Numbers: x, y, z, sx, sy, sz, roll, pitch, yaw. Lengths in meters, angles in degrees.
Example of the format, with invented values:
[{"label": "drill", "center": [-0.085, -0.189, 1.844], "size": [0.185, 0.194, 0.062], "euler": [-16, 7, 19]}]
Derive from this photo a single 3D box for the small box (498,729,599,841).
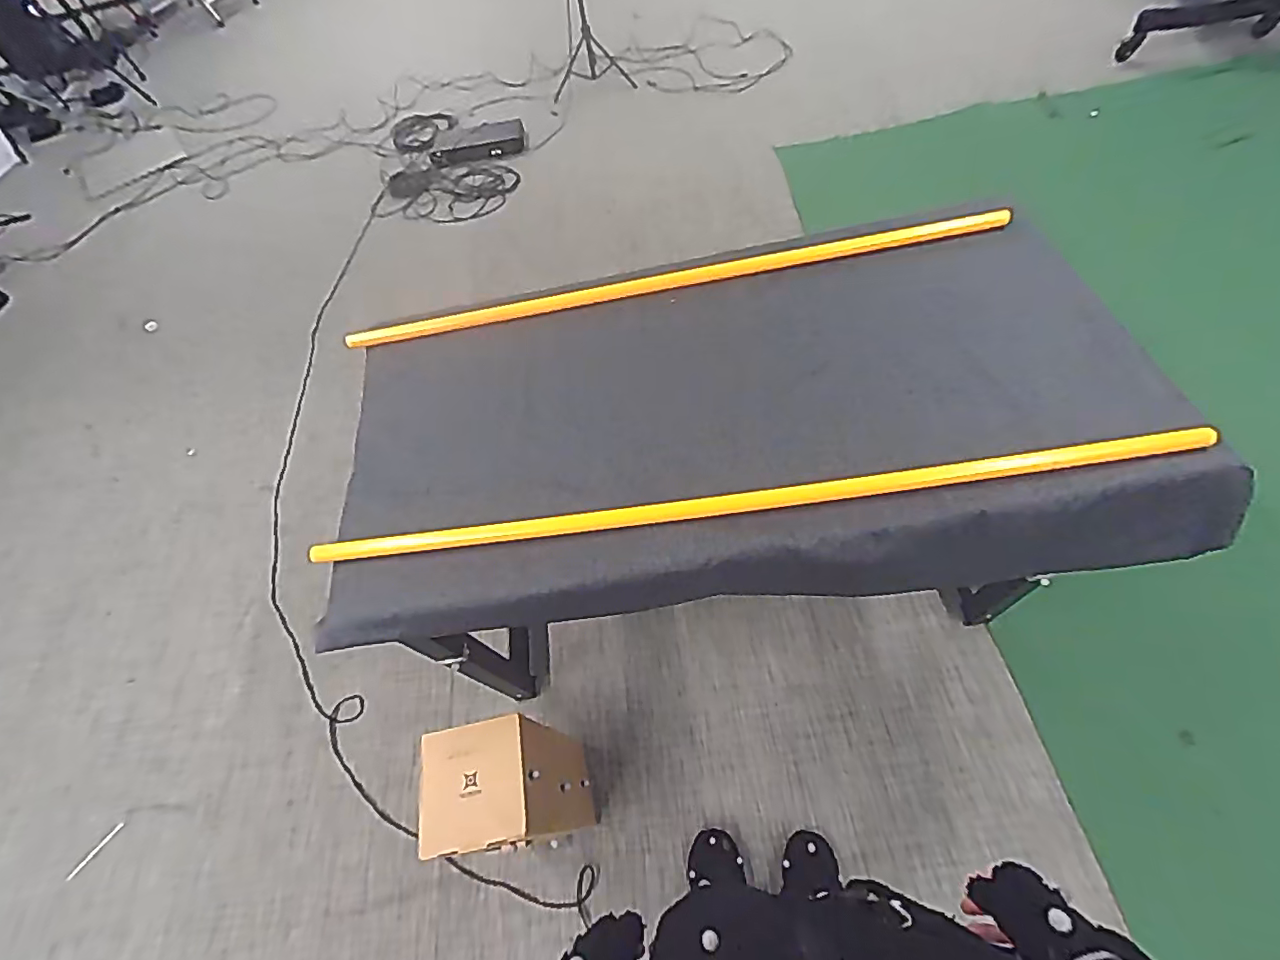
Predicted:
[{"label": "small box", "center": [-0.197, 0.667, 1.184], "size": [0.168, 0.176, 0.179], "euler": [-17, 59, 0]}]
